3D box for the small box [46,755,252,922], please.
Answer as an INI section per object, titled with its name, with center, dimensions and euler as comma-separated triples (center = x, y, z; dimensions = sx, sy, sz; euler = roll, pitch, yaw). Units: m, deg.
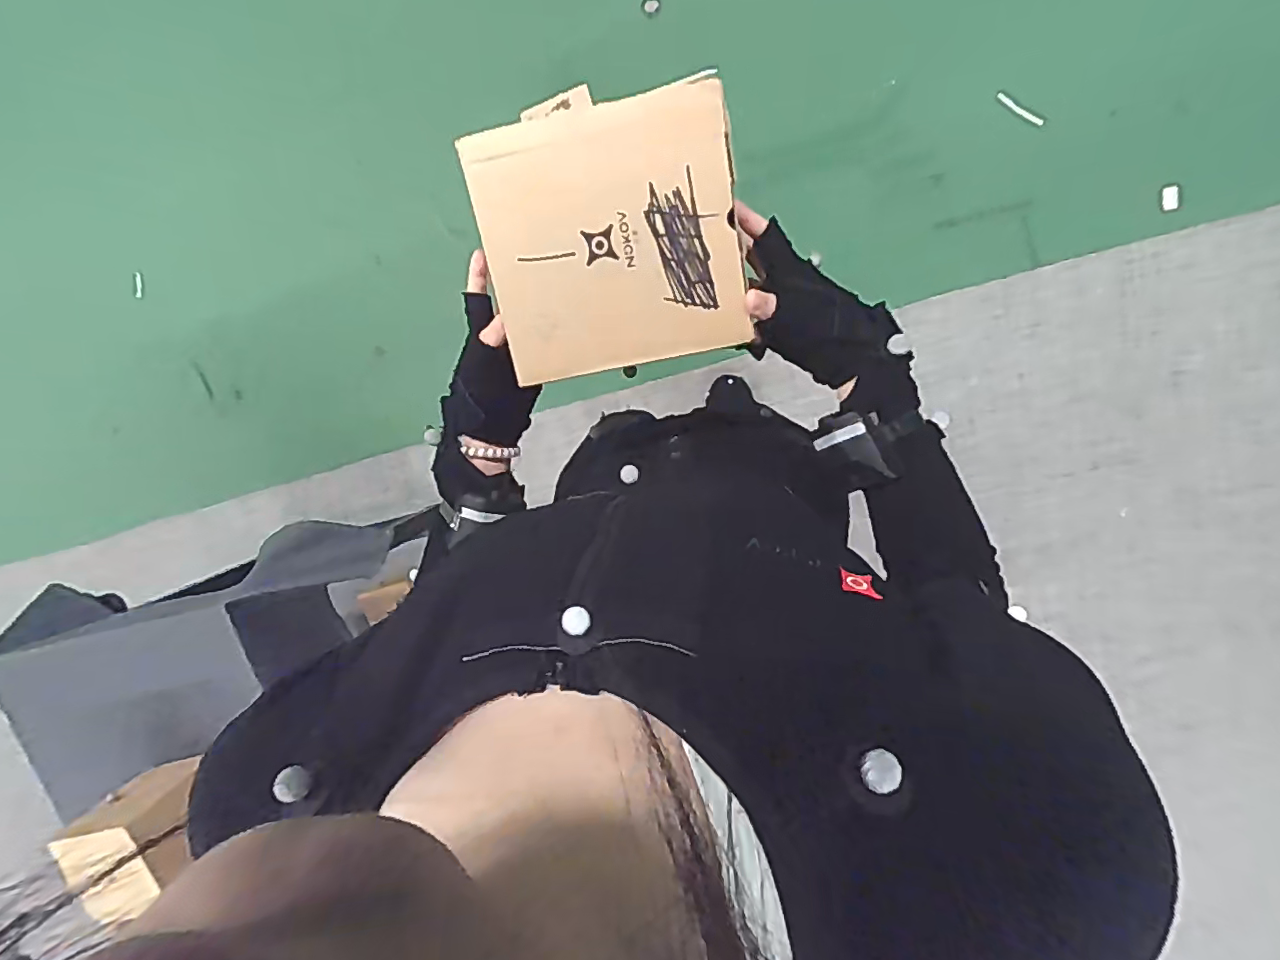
[small box]
center = -0.835, 0.612, 0.937
dimensions = 0.179, 0.176, 0.168
euler = -17, 101, 13
